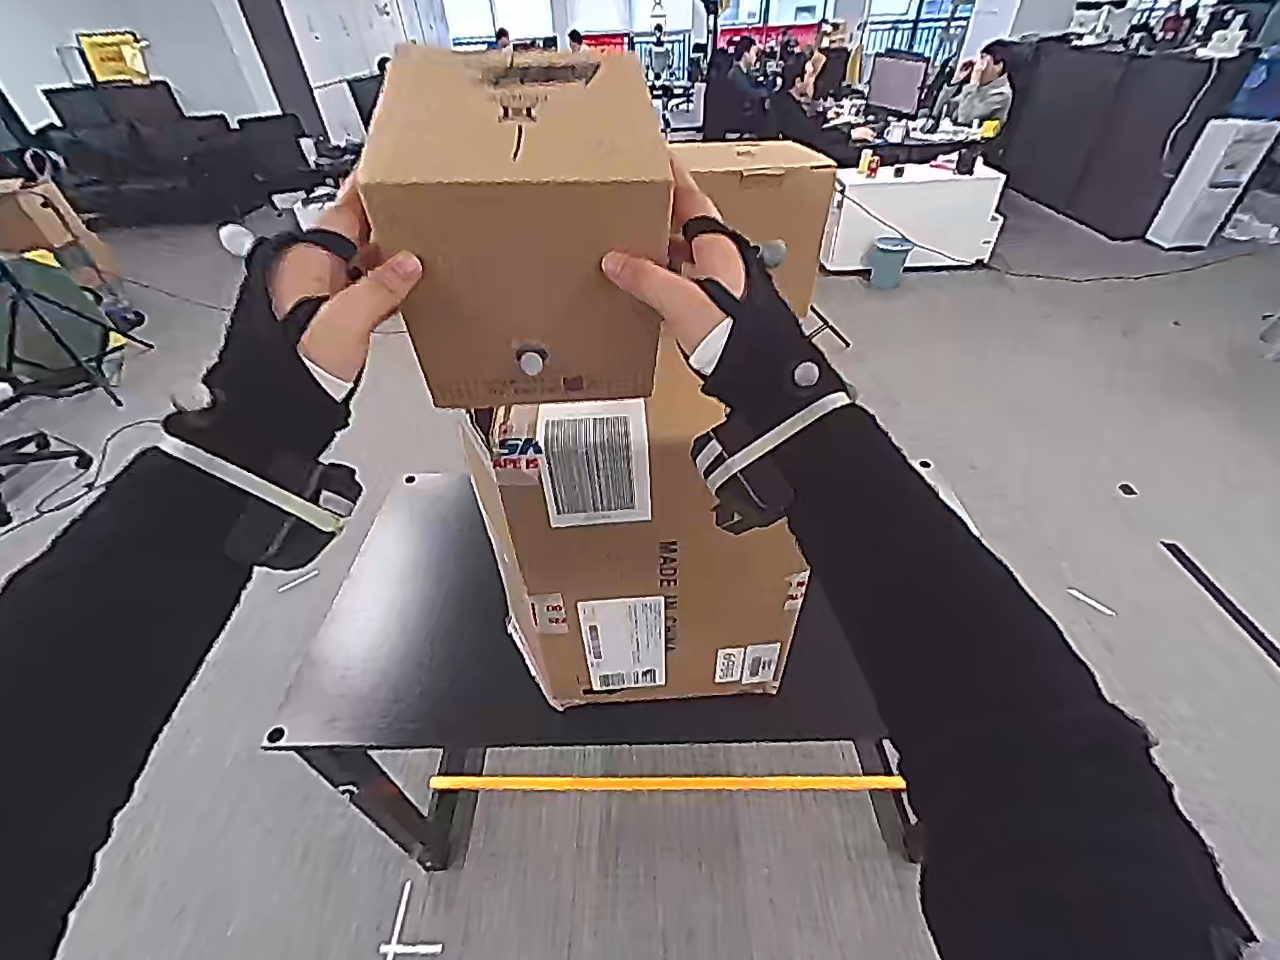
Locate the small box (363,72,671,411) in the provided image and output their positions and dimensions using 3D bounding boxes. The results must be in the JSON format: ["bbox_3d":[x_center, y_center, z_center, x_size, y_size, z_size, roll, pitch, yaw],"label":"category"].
[{"bbox_3d":[-0.077,-0.172,0.401,0.168,0.176,0.179,-4,54,-6],"label":"small box"}]

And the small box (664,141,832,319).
[{"bbox_3d":[0.120,-0.314,0.683,0.168,0.176,0.179,-2,41,-3],"label":"small box"}]
